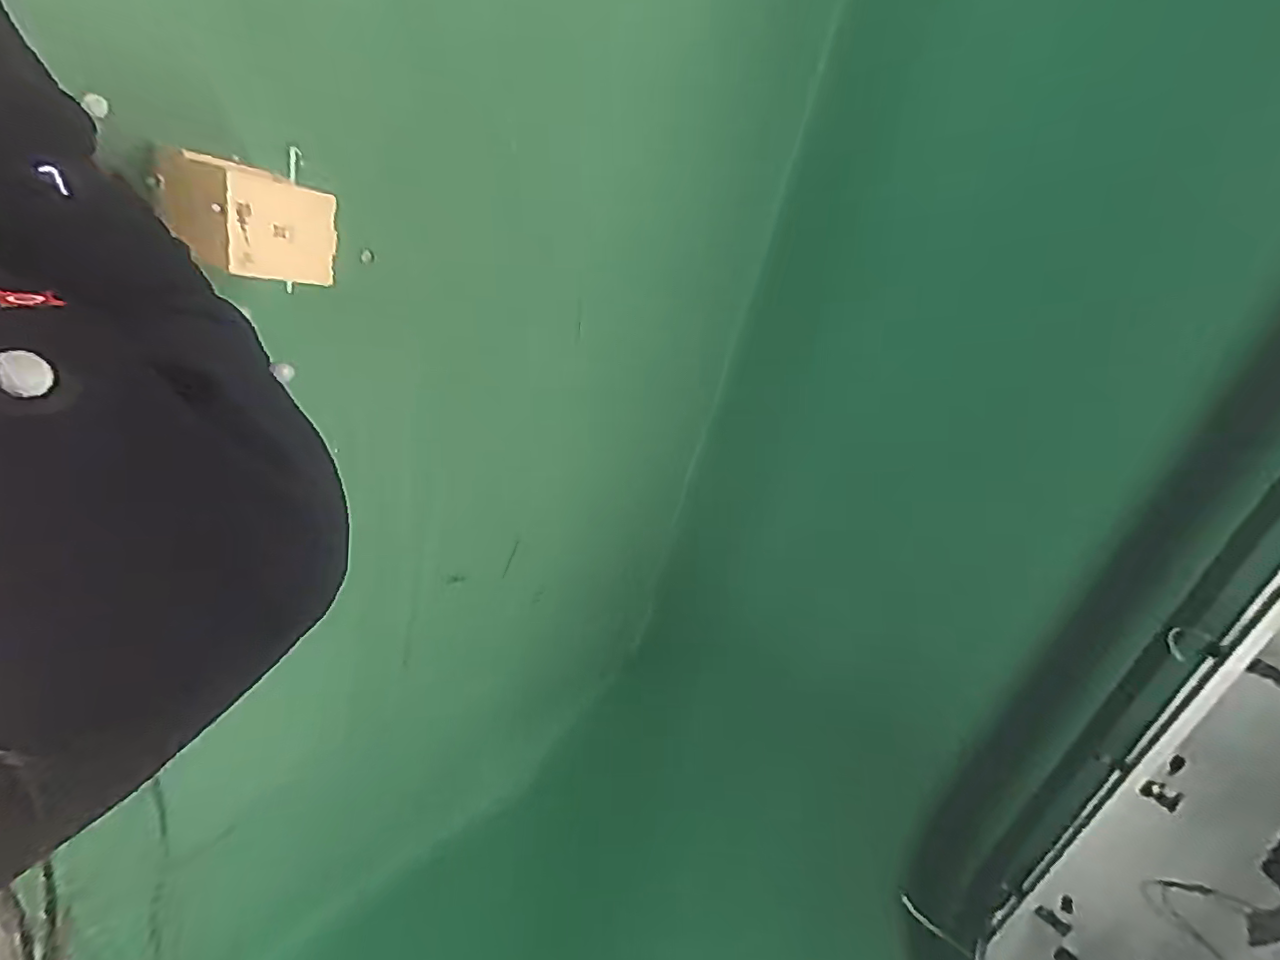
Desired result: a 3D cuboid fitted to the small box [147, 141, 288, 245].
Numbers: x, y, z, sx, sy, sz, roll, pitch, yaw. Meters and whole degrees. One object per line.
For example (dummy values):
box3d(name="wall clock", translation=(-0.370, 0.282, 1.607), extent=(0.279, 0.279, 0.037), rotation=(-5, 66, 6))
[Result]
box3d(name="small box", translation=(-0.830, -0.549, 1.068), extent=(0.179, 0.176, 0.168), rotation=(-14, 125, -53))

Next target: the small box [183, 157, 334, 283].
box3d(name="small box", translation=(-0.700, -0.476, 0.998), extent=(0.179, 0.176, 0.168), rotation=(-17, 127, -55))
